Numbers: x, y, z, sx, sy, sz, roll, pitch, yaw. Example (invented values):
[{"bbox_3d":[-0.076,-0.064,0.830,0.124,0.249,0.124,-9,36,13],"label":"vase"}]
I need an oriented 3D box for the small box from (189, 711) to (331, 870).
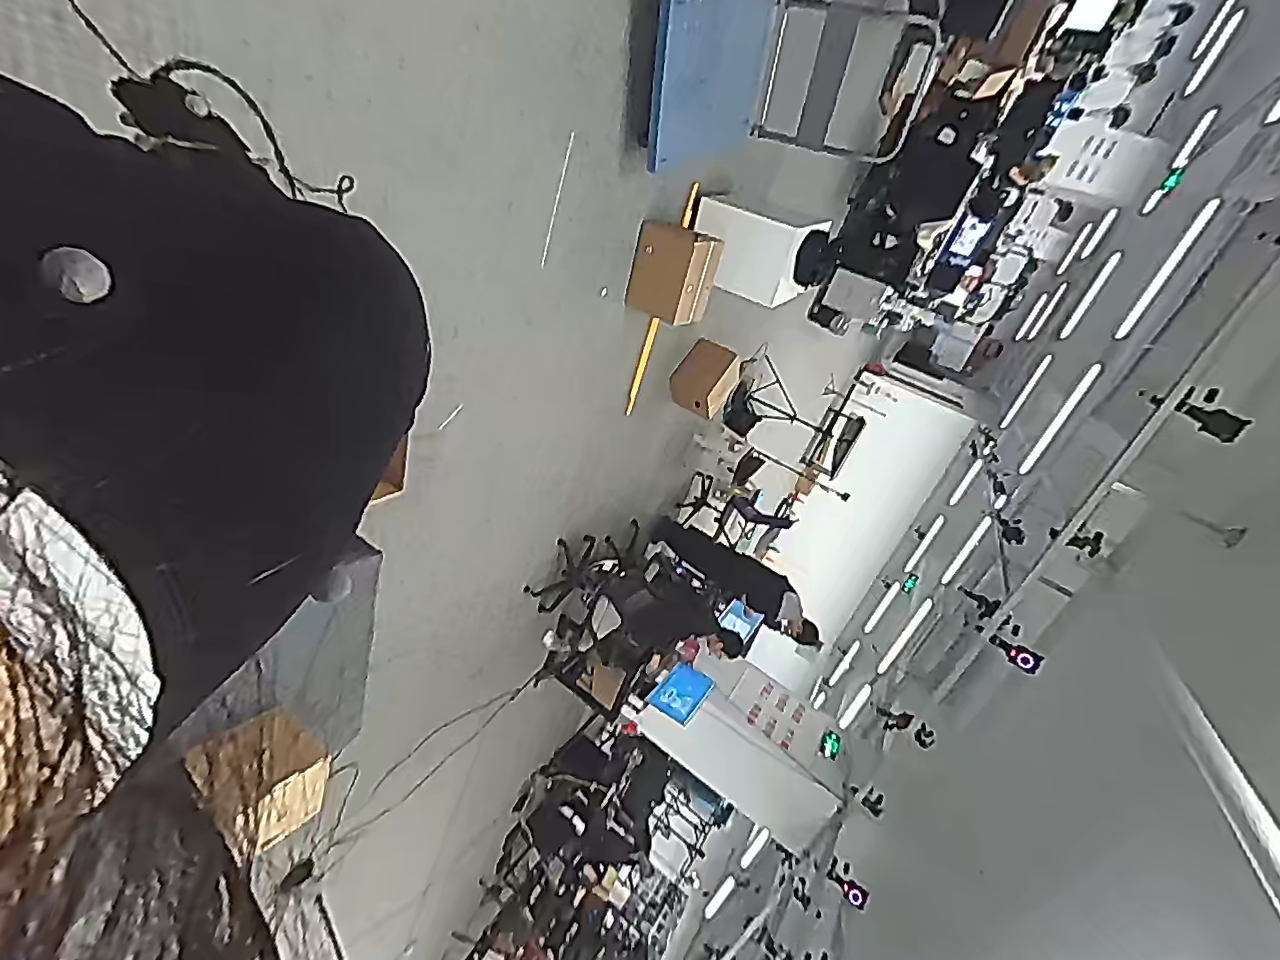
[{"bbox_3d":[-0.727,0.576,1.034,0.168,0.176,0.179,-20,135,-58],"label":"small box"}]
